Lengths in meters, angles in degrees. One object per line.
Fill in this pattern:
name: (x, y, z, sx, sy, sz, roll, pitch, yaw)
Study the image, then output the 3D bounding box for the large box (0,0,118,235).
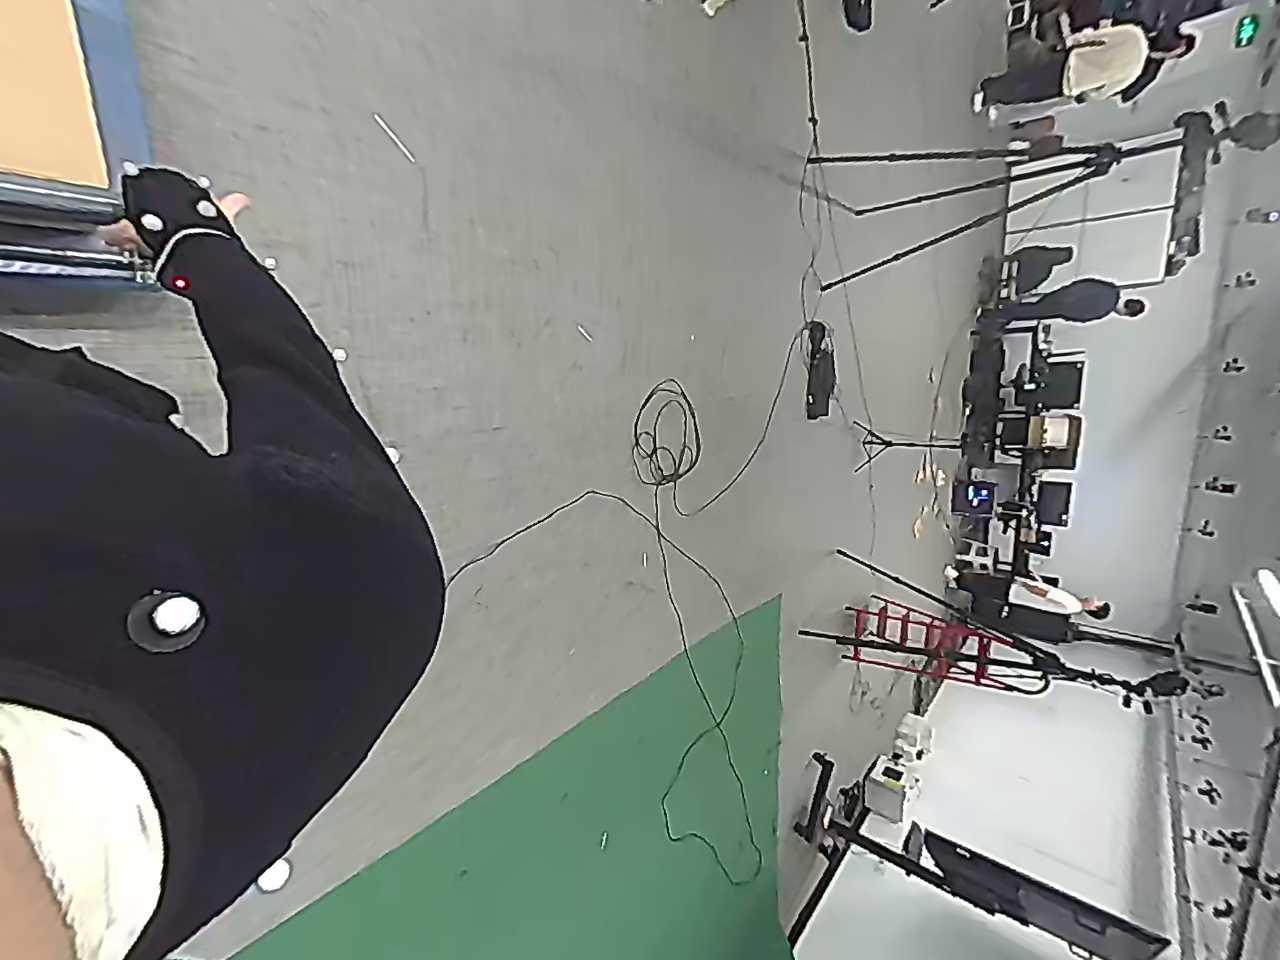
large box: (-1.022, -0.613, 0.779, 0.320, 0.320, 0.408, -15, 105, -47)
